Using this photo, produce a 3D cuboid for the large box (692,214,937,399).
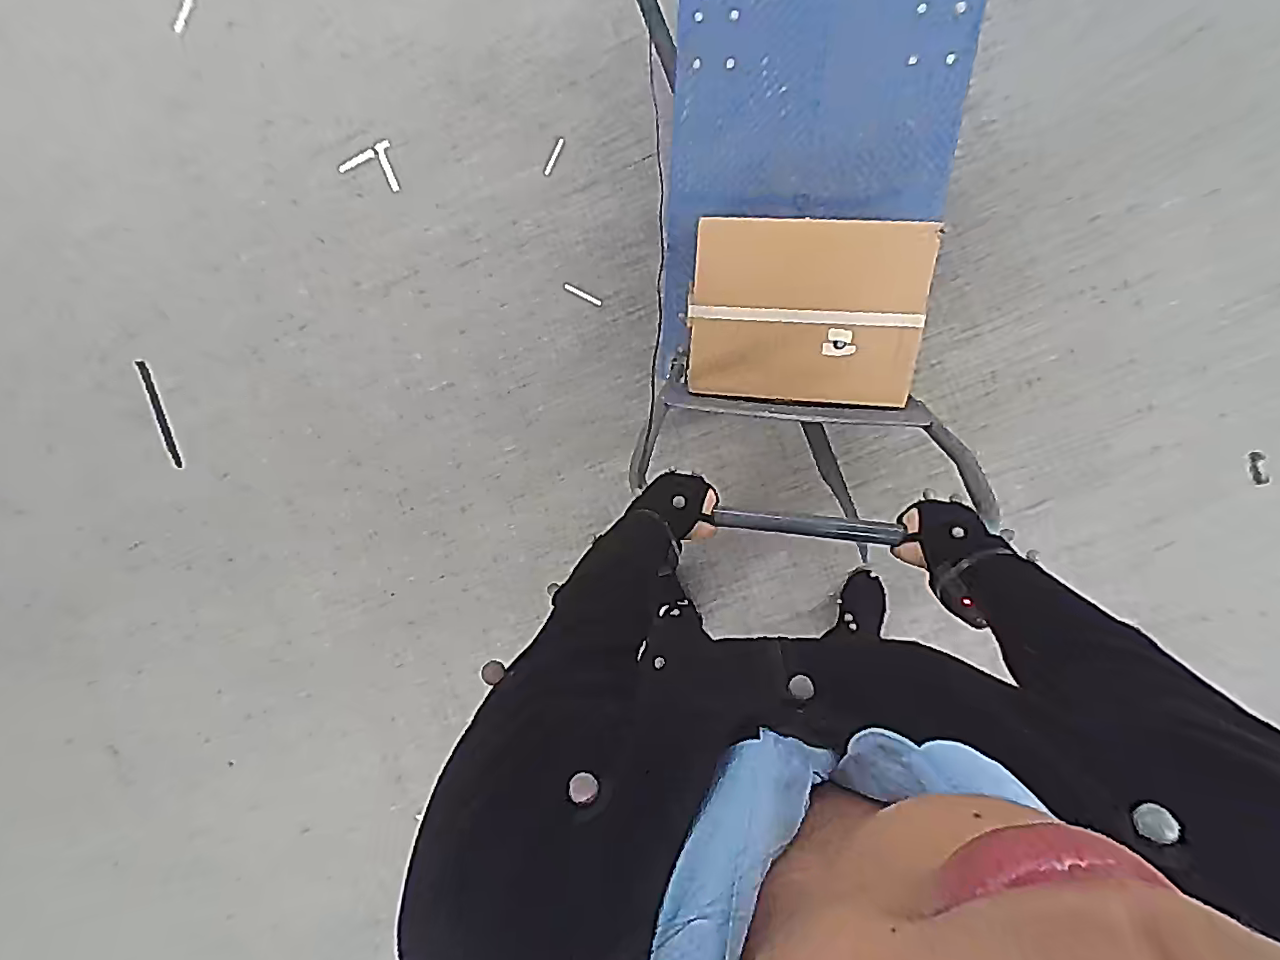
[{"bbox_3d":[0.323,-0.362,1.124,0.408,0.320,0.320,5,112,8],"label":"large box"}]
